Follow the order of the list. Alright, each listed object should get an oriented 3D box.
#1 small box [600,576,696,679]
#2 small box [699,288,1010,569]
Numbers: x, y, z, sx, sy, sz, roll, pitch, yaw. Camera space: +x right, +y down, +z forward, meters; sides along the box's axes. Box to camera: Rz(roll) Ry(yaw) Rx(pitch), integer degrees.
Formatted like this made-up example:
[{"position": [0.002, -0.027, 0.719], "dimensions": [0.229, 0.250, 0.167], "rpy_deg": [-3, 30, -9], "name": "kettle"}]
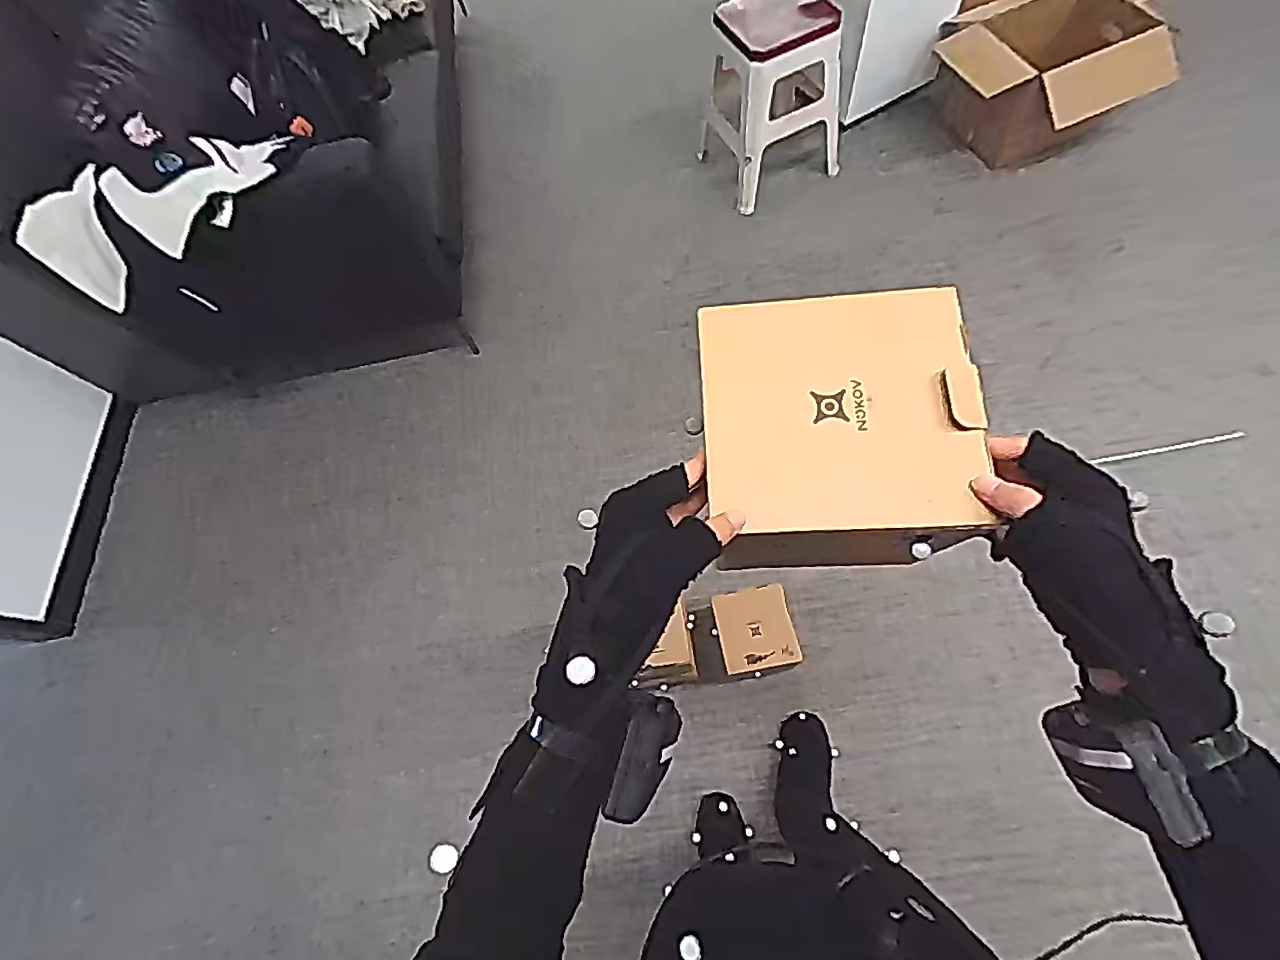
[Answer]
[{"position": [0.022, 0.316, 1.134], "dimensions": [0.168, 0.176, 0.179], "rpy_deg": [-11, 65, 4], "name": "small box"}, {"position": [0.141, -0.023, 0.425], "dimensions": [0.179, 0.176, 0.168], "rpy_deg": [-3, 73, 6], "name": "small box"}]
